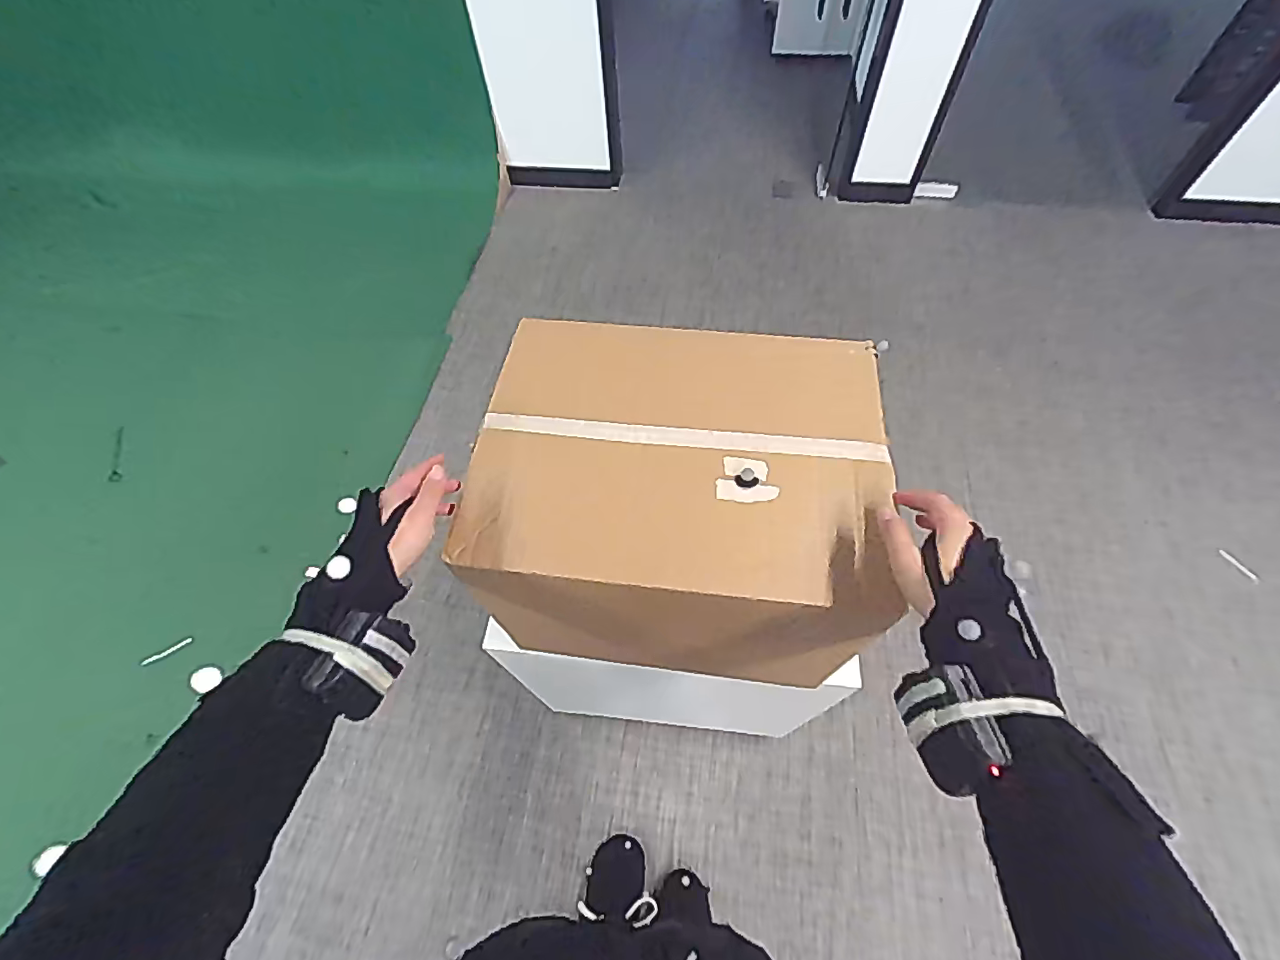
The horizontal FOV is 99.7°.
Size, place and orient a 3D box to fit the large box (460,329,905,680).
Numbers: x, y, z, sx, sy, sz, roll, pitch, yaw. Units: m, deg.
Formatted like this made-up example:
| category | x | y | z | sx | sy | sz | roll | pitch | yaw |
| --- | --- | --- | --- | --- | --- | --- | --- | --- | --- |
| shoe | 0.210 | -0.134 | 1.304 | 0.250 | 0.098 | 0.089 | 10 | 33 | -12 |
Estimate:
| category | x | y | z | sx | sy | sz | roll | pitch | yaw |
| --- | --- | --- | --- | --- | --- | --- | --- | --- | --- |
| large box | 0.049 | 0.042 | 0.678 | 0.408 | 0.320 | 0.320 | 6 | 59 | 5 |
